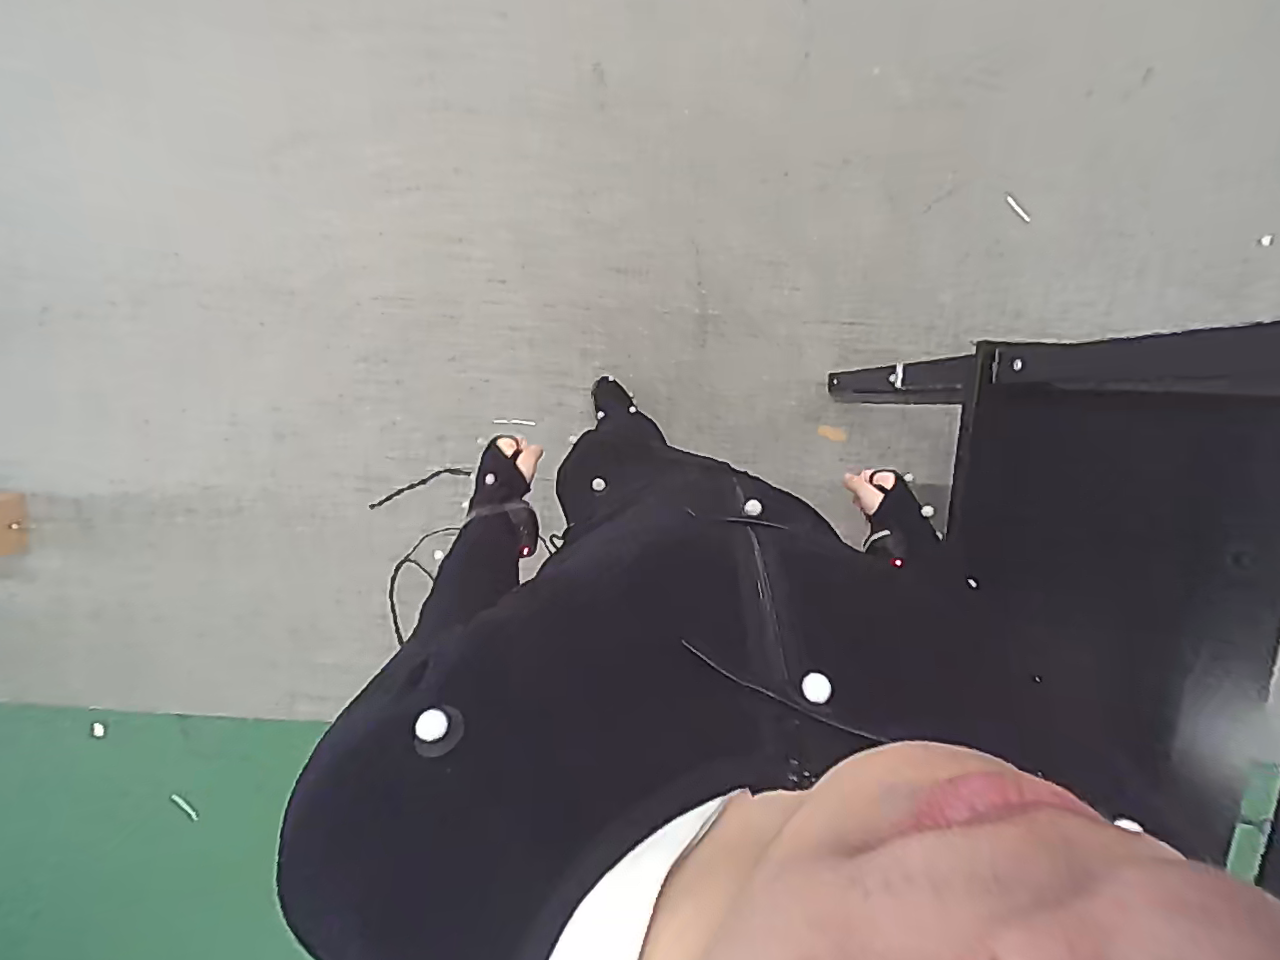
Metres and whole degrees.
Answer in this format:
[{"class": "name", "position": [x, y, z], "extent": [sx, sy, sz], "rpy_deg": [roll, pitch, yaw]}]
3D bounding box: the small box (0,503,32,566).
[{"class": "small box", "position": [-1.931, 0.158, 1.564], "extent": [0.168, 0.176, 0.179], "rpy_deg": [6, 98, -1]}]
